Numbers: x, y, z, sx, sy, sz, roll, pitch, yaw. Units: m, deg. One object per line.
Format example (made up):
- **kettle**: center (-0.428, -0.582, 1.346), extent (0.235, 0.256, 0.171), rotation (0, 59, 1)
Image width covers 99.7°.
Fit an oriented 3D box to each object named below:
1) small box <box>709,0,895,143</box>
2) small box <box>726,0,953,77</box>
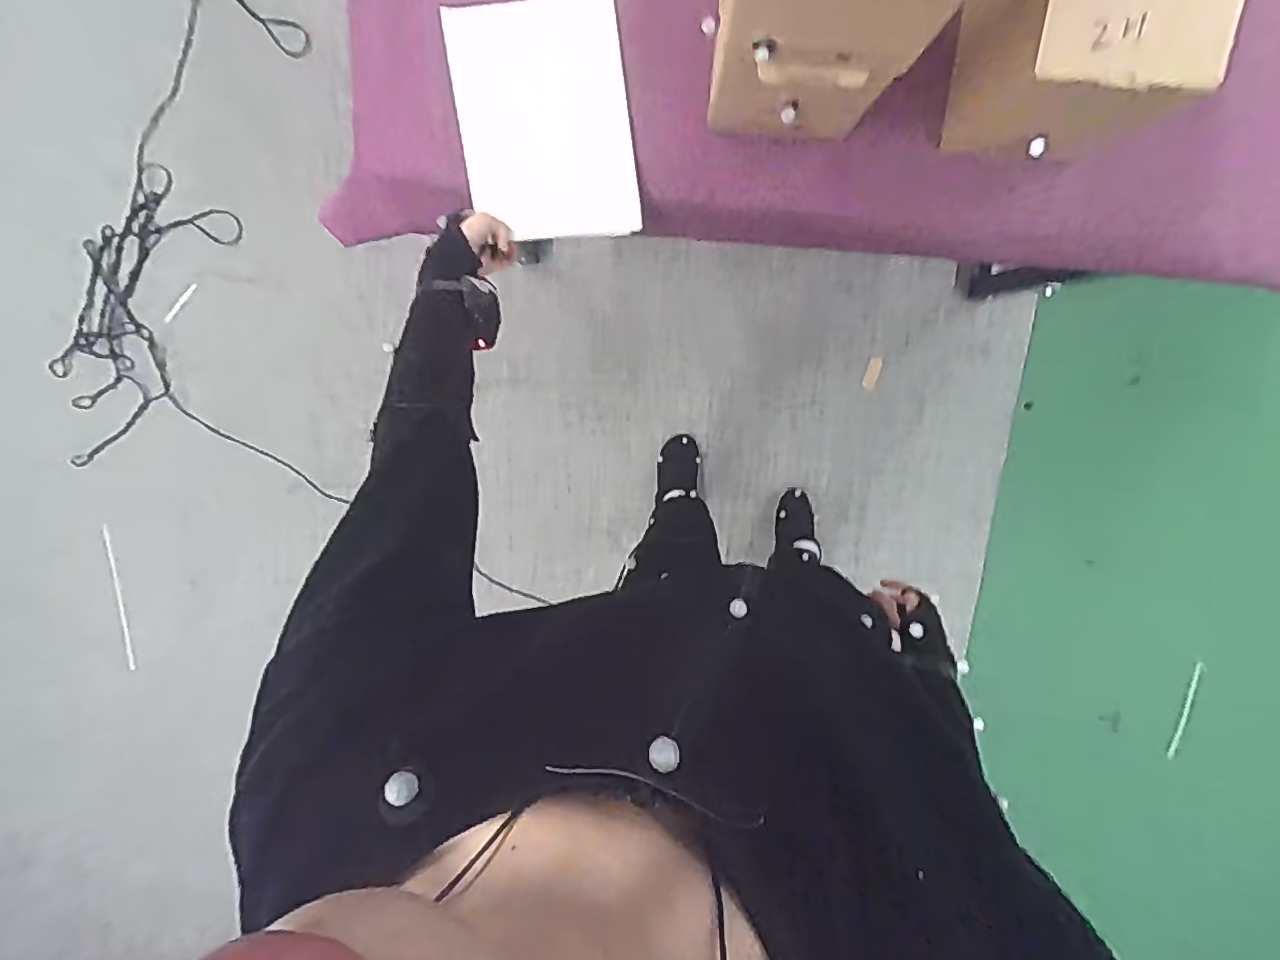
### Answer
- **small box**: center (0.166, -0.477, 0.559), extent (0.168, 0.176, 0.179), rotation (5, 102, 0)
- **small box**: center (0.161, -0.438, 0.399), extent (0.168, 0.176, 0.179), rotation (6, 101, 1)
